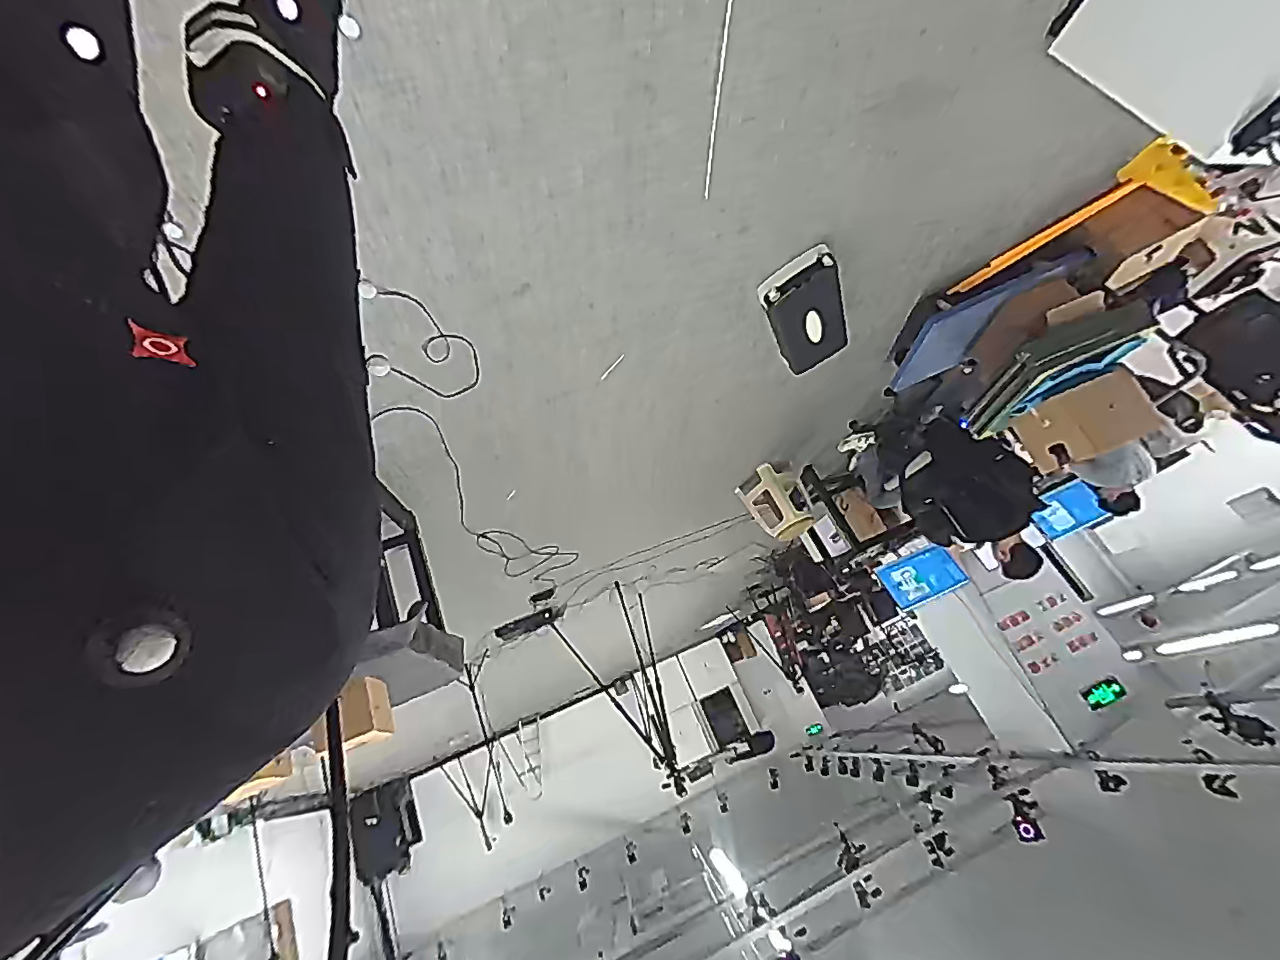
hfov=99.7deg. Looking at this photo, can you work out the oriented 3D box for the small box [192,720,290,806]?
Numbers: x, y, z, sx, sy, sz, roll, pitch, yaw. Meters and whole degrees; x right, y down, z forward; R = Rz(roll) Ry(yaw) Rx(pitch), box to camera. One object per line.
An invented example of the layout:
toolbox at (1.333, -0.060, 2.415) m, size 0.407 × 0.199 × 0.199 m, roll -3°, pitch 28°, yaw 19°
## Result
small box at (-1.159, 0.817, 1.572) m, size 0.168 × 0.176 × 0.179 m, roll -20°, pitch 157°, yaw -13°
